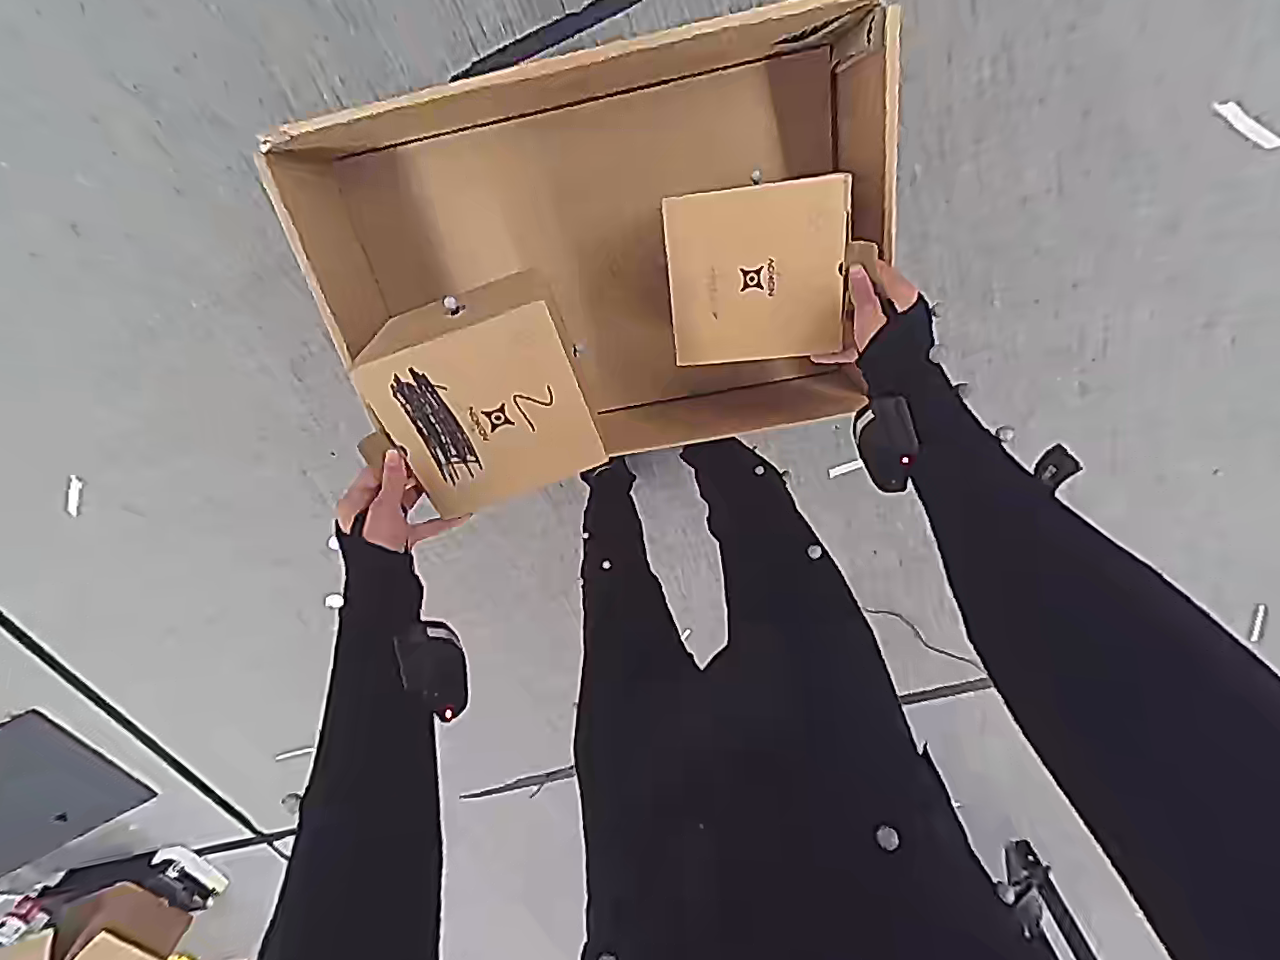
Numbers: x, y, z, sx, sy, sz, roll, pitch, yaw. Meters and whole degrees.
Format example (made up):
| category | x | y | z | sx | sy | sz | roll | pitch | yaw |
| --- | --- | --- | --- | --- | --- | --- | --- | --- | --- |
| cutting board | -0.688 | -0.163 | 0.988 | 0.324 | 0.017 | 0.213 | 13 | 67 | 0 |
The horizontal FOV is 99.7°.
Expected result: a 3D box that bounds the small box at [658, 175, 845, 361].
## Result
| category | x | y | z | sx | sy | sz | roll | pitch | yaw |
| --- | --- | --- | --- | --- | --- | --- | --- | --- | --- |
| small box | 0.121 | -0.242 | 0.611 | 0.179 | 0.176 | 0.168 | -2 | 116 | 10 |
